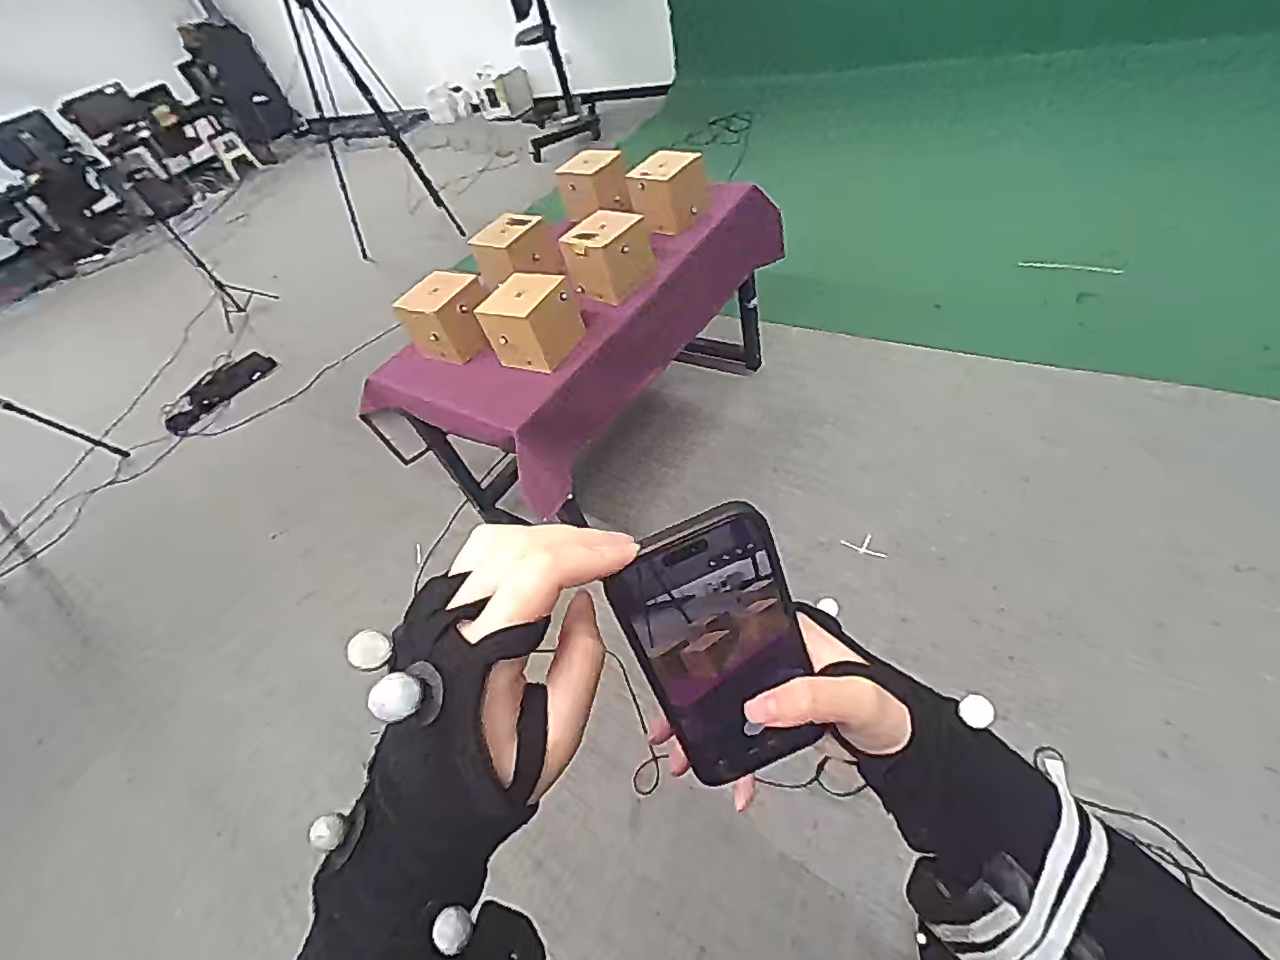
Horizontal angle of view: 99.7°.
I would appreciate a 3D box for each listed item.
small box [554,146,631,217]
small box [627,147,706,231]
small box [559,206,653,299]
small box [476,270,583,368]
[{"bbox_3d":[-0.156,-1.002,1.828,0.179,0.176,0.168,25,62,31],"label":"small box"},{"bbox_3d":[0.089,-0.895,1.663,0.168,0.176,0.179,28,63,34],"label":"small box"},{"bbox_3d":[-0.085,-0.621,1.482,0.168,0.176,0.179,27,61,33],"label":"small box"},{"bbox_3d":[-0.266,-0.402,1.351,0.168,0.176,0.179,14,55,27],"label":"small box"}]
